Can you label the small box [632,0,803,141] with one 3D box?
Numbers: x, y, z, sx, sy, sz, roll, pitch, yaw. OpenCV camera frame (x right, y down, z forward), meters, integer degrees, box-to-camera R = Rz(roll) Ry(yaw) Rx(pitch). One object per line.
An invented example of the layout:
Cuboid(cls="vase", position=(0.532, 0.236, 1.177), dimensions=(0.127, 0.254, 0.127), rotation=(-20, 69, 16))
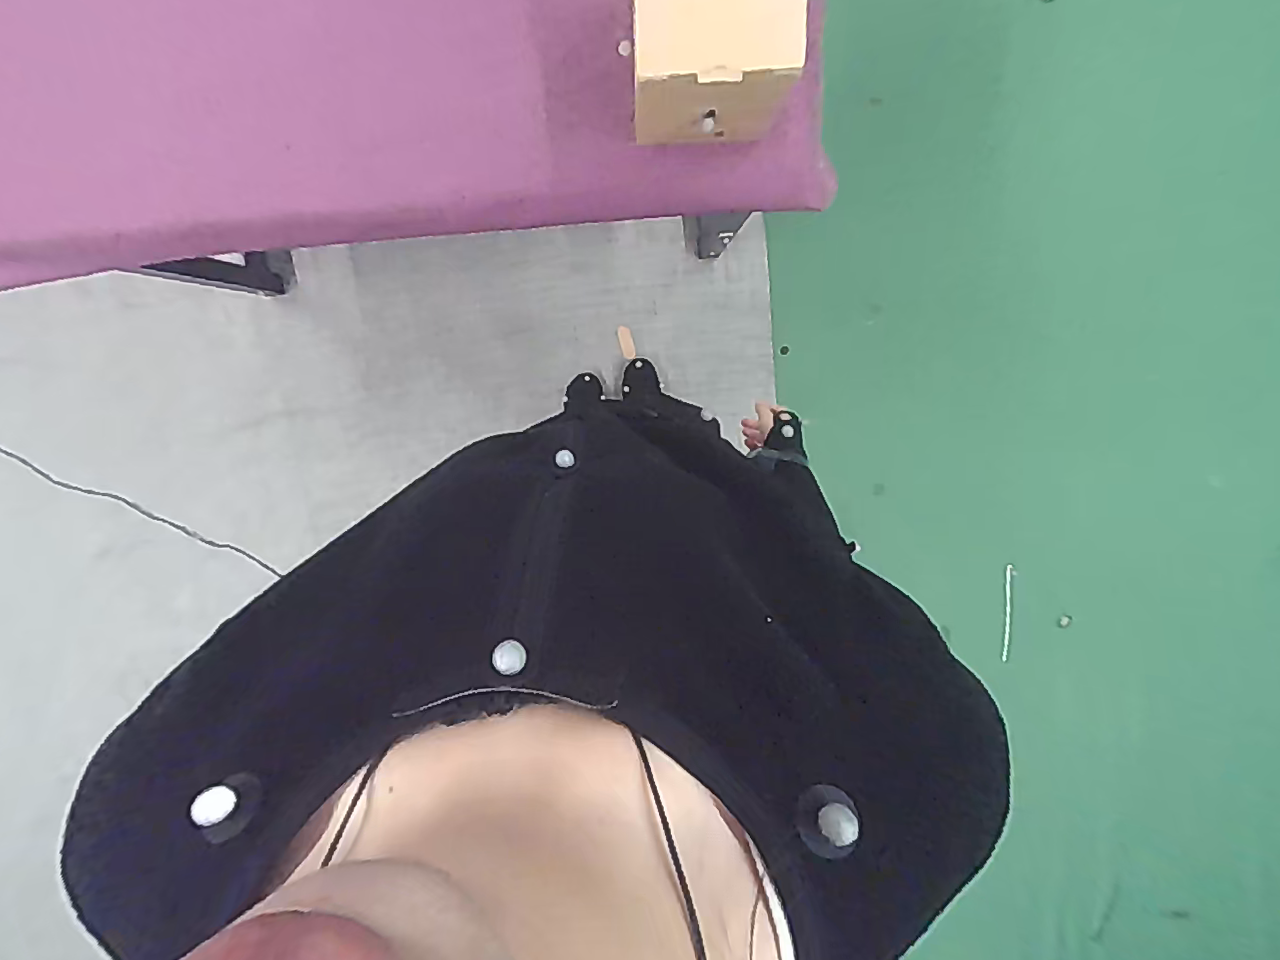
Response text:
Cuboid(cls="small box", position=(0.075, -0.488, 0.587), dimensions=(0.168, 0.176, 0.179), rotation=(-1, 104, 1))
